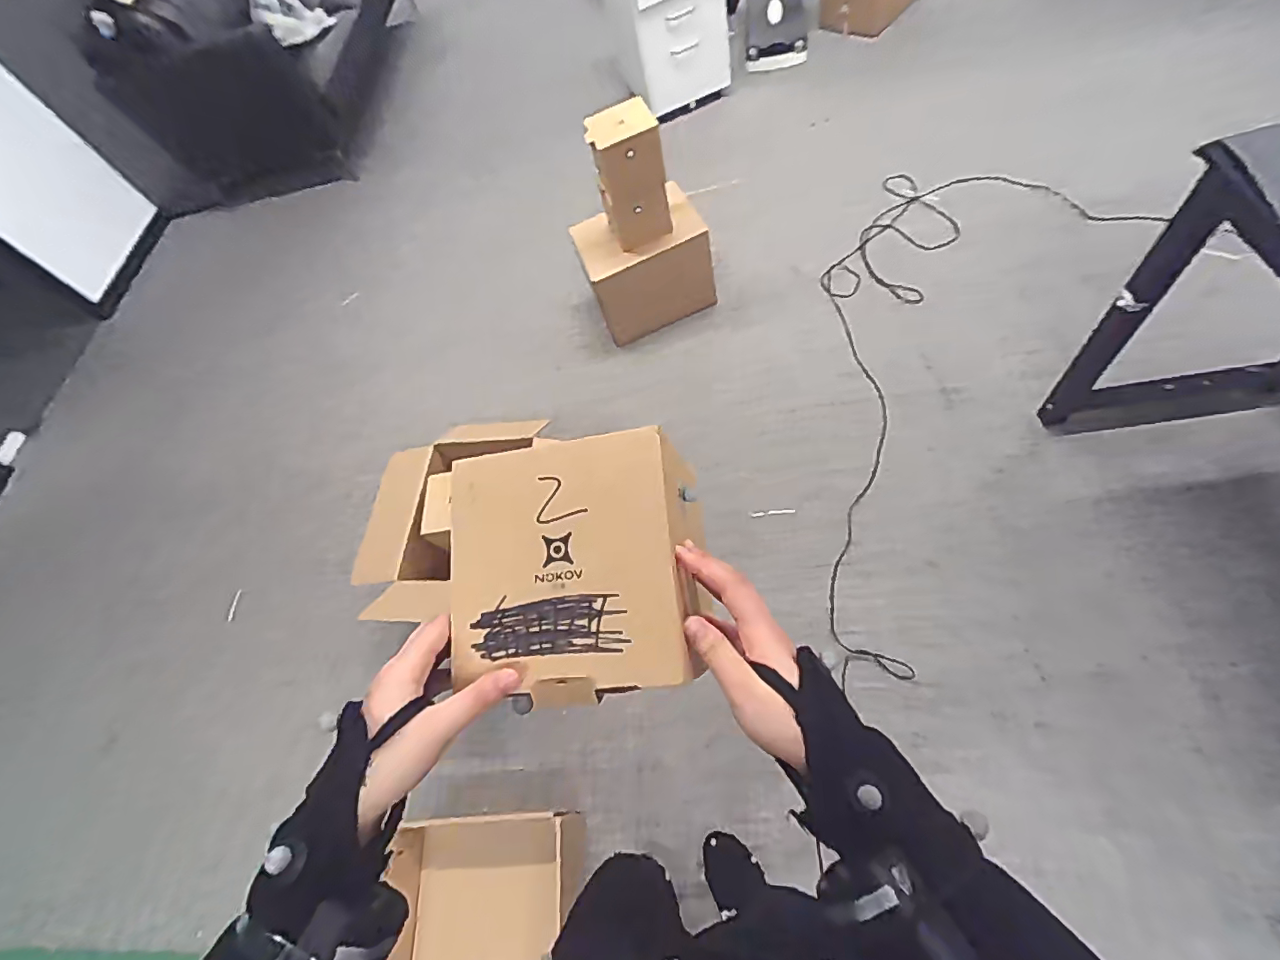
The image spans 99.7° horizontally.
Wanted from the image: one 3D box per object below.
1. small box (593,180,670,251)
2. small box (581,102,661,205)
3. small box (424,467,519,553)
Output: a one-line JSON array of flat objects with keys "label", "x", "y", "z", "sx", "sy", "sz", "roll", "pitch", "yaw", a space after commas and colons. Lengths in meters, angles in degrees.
[{"label": "small box", "x": -0.023, "y": -0.860, "z": 1.707, "sx": 0.179, "sy": 0.176, "sz": 0.168, "roll": -23, "pitch": 60, "yaw": 1}, {"label": "small box", "x": -0.048, "y": -0.940, "z": 1.567, "sx": 0.179, "sy": 0.176, "sz": 0.168, "roll": -23, "pitch": 60, "yaw": 2}, {"label": "small box", "x": -0.438, "y": 0.086, "z": 1.429, "sx": 0.179, "sy": 0.176, "sz": 0.168, "roll": -9, "pitch": 62, "yaw": 10}]
